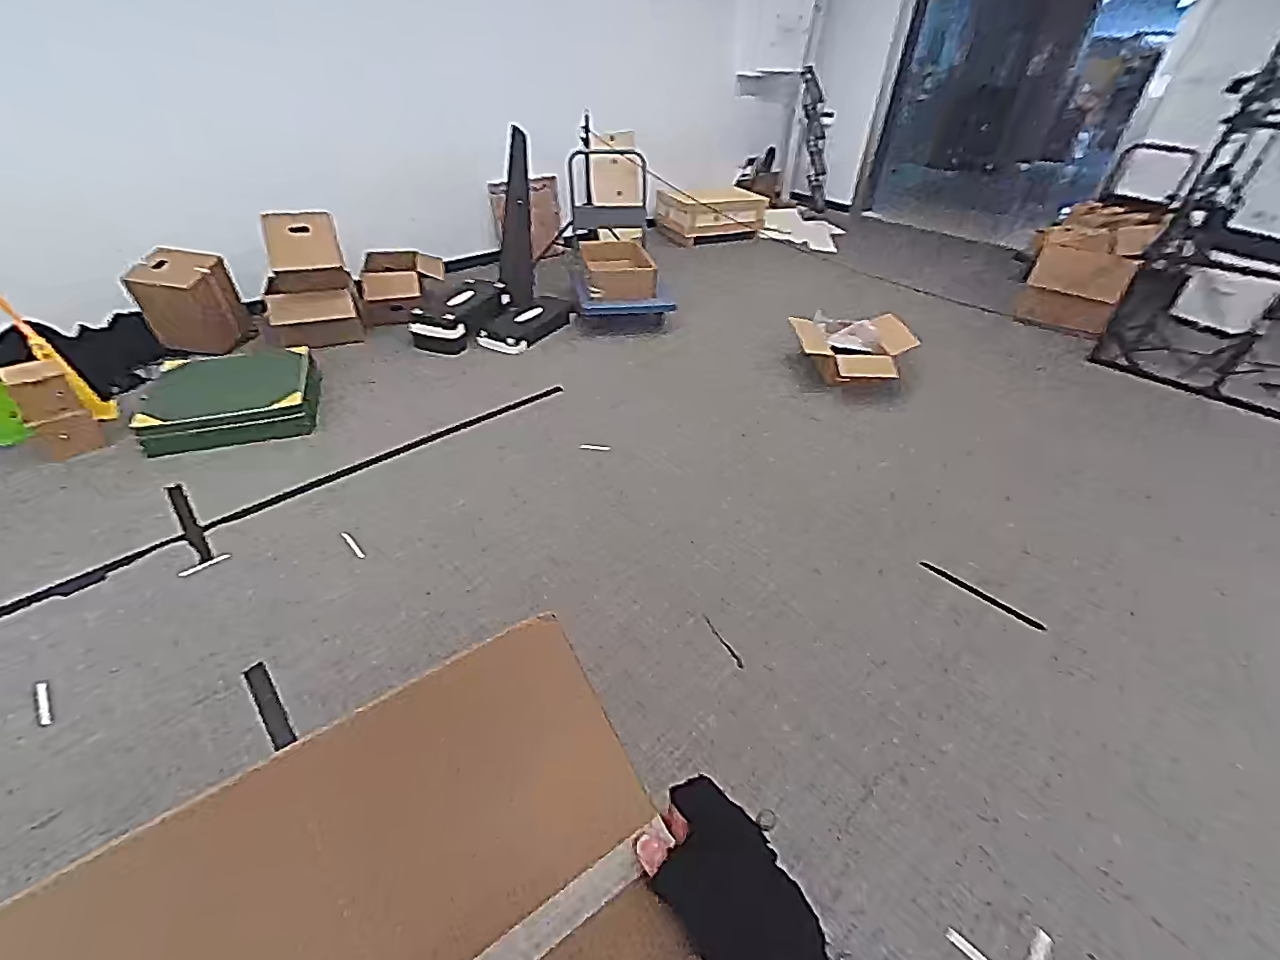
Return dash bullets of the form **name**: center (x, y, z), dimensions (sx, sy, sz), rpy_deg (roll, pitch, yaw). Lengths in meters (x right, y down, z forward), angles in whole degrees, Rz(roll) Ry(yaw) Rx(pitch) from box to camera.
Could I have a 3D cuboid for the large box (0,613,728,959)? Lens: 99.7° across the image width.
- **large box**: center (-0.197, 0.352, 0.402), dimensions (0.408, 0.320, 0.320), rpy_deg (-25, 80, -25)
